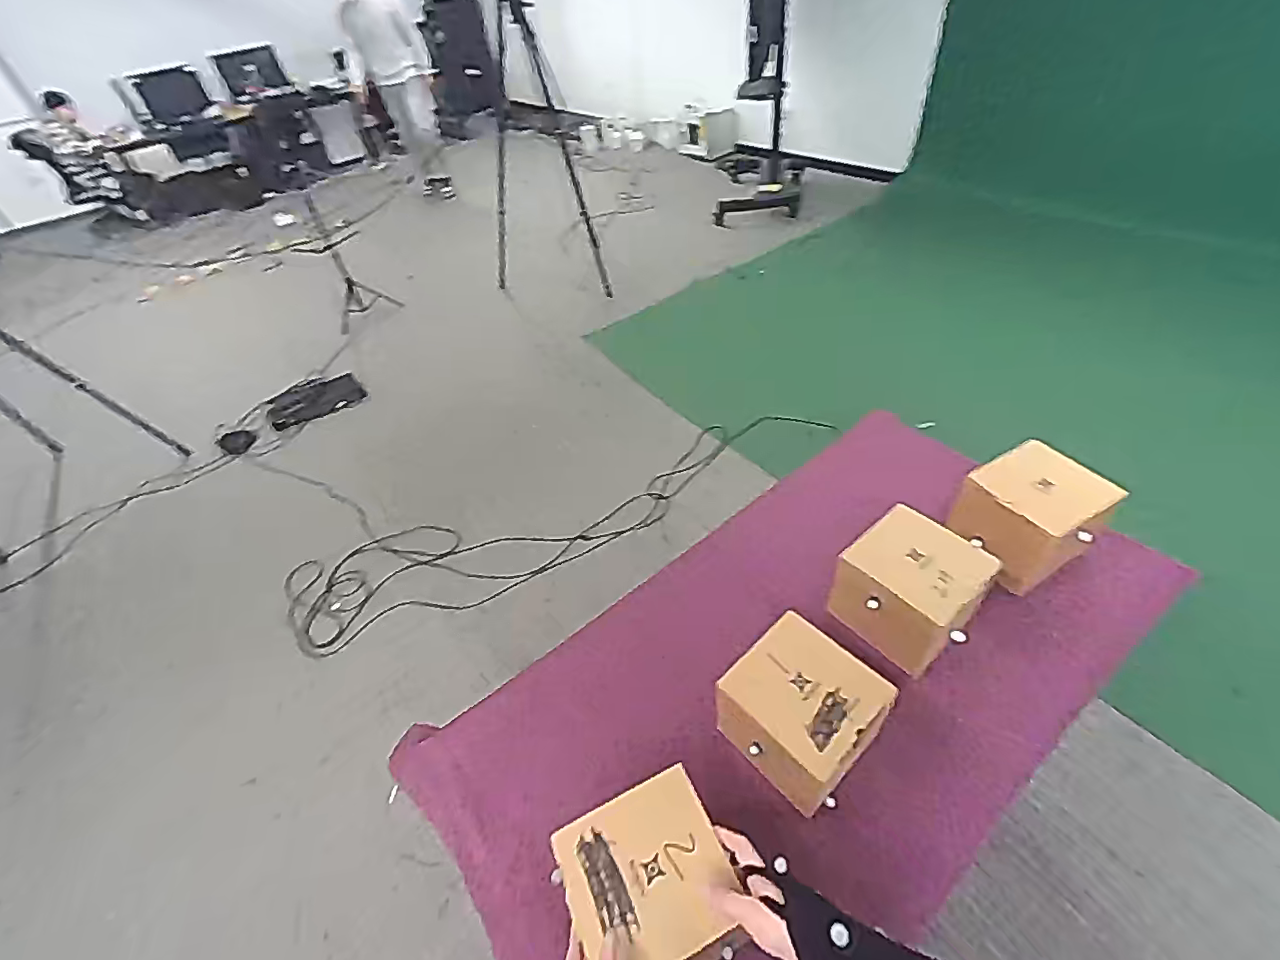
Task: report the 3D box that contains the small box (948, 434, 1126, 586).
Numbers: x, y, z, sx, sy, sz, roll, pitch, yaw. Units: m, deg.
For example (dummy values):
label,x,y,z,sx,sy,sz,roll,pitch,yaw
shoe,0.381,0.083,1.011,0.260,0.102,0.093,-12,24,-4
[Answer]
label,x,y,z,sx,sy,sz,roll,pitch,yaw
small box,0.690,0.055,0.966,0.179,0.176,0.168,-26,48,-14

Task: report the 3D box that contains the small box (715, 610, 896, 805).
label,x,y,z,sx,sy,sz,roll,pitch,yaw
small box,0.228,0.330,0.776,0.168,0.176,0.179,-36,50,-24

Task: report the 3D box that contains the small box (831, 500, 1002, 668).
label,x,y,z,sx,sy,sz,roll,pitch,yaw
small box,0.440,0.173,0.892,0.168,0.176,0.179,-34,50,-21
